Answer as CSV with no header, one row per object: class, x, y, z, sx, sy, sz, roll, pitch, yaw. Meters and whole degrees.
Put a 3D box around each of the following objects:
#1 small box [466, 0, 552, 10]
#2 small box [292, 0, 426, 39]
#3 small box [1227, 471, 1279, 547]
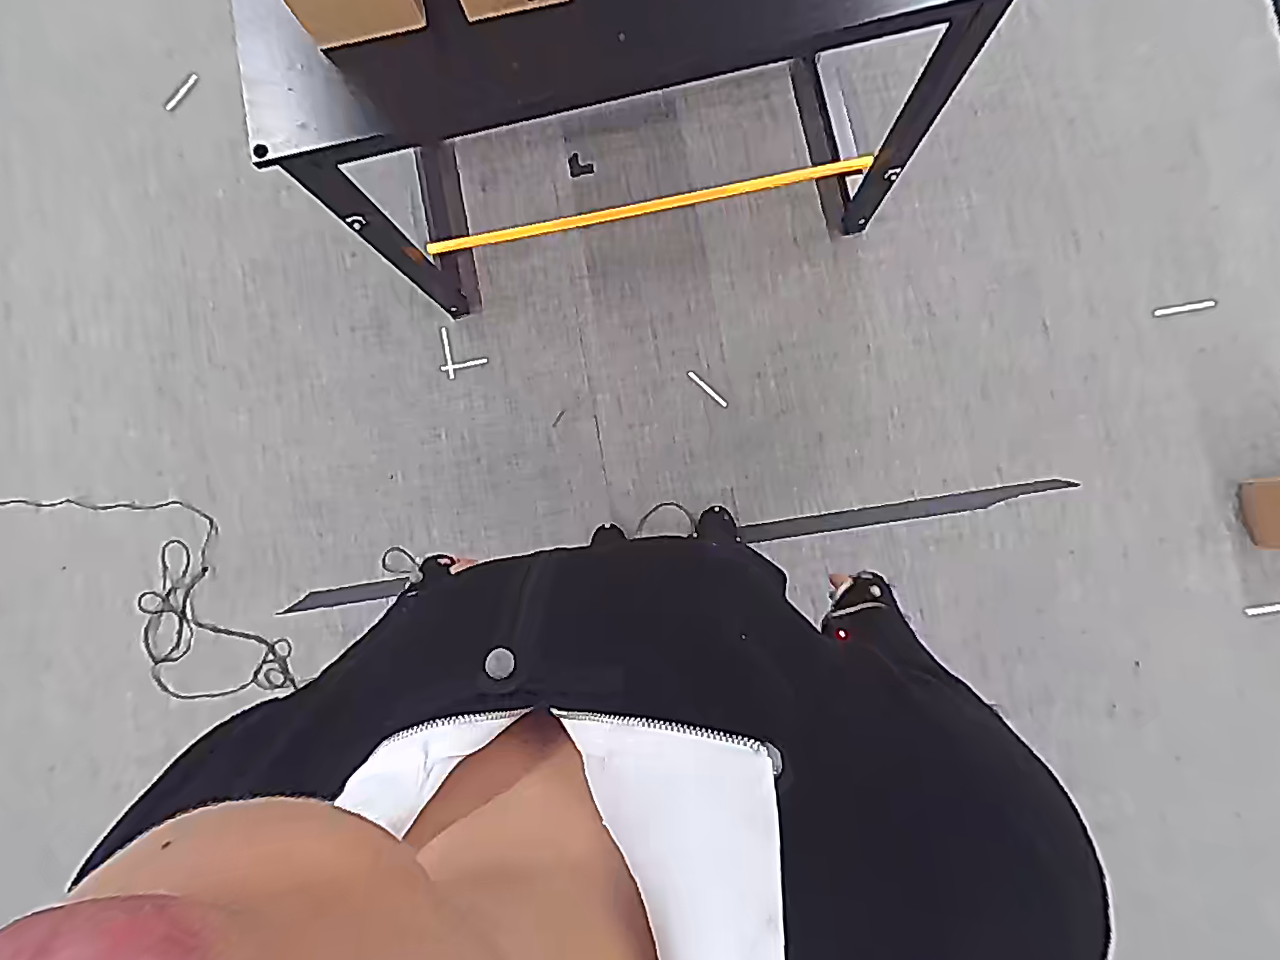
small box,-0.200,-0.808,0.753,0.168,0.176,0.179,-9,87,3
small box,-0.430,-0.774,0.763,0.179,0.176,0.168,-10,86,2
small box,1.622,0.069,1.327,0.168,0.176,0.179,-11,87,3
